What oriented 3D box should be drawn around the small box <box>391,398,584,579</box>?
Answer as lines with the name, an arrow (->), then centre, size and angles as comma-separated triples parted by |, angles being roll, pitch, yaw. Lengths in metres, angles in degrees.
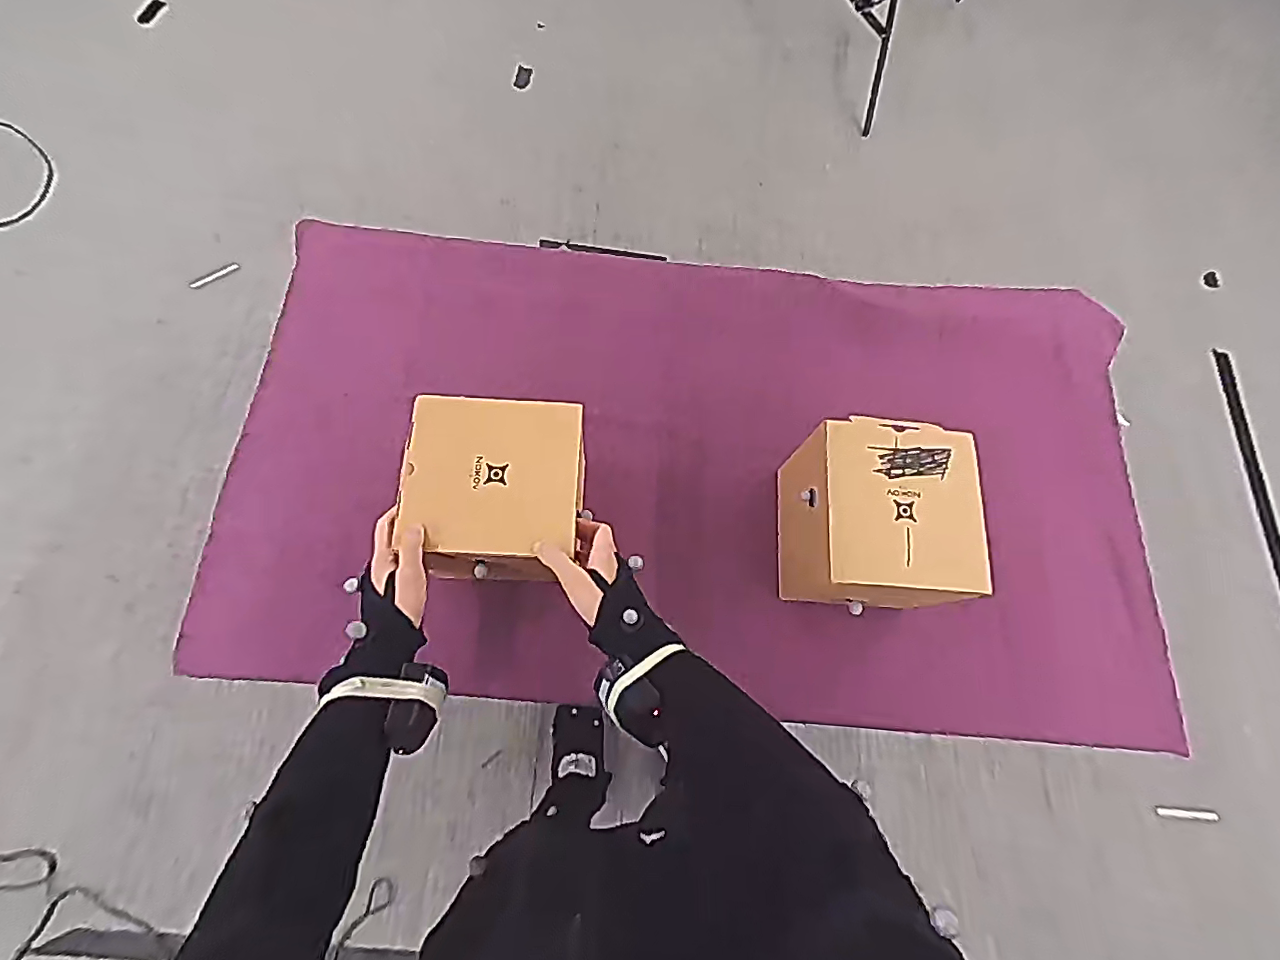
small box -> -0.156, 0.020, 0.621 | 0.179, 0.176, 0.168 | 2, 72, -3

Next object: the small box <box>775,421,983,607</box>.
small box -> 0.263, 0.049, 0.639 | 0.168, 0.176, 0.179 | 5, 72, -2
